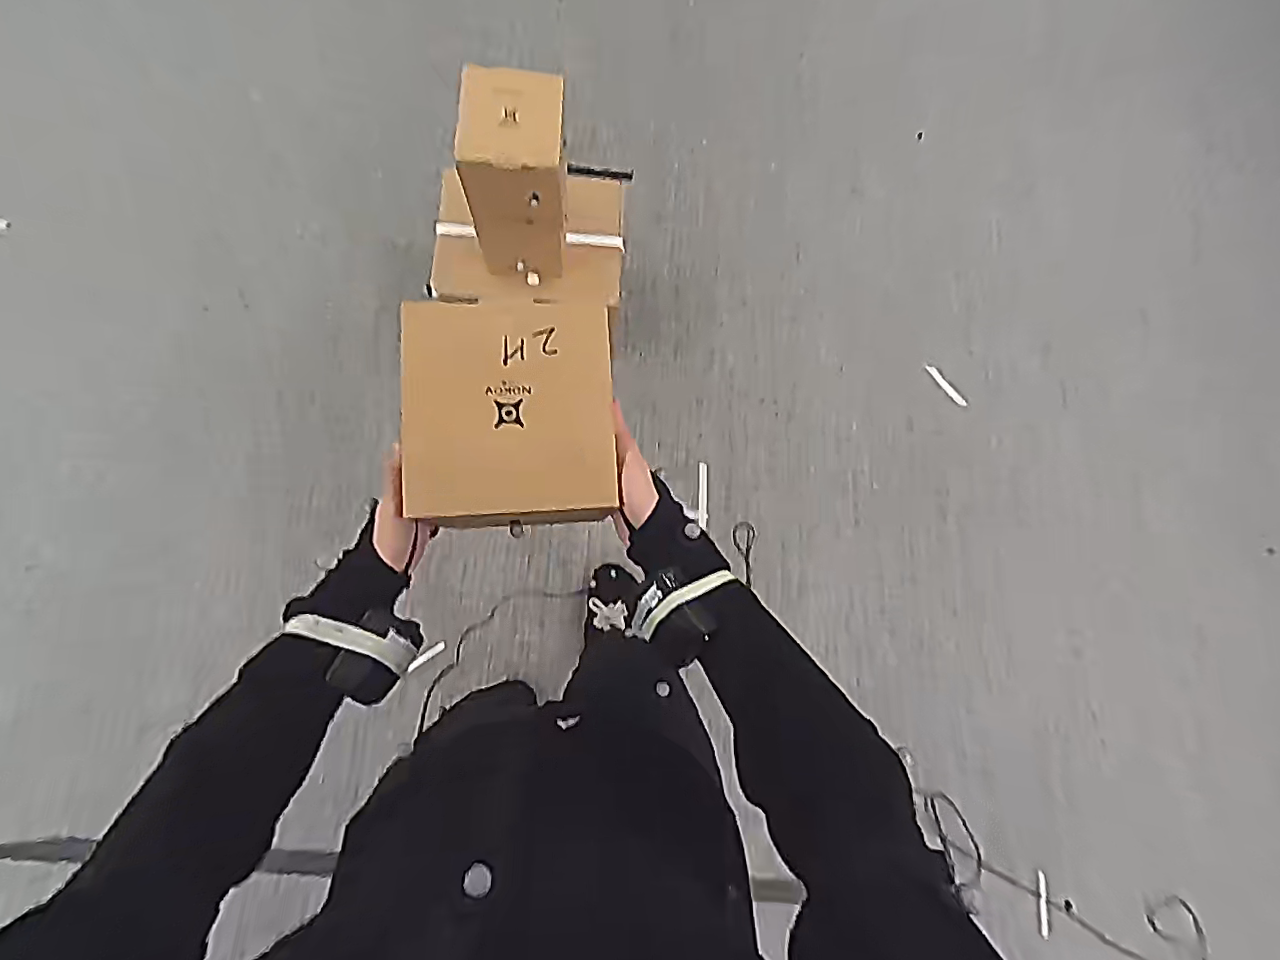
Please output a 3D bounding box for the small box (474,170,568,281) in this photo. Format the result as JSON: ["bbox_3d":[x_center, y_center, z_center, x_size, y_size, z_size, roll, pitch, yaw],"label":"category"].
[{"bbox_3d":[-0.235,-0.538,1.109,0.168,0.176,0.179,2,80,-5],"label":"small box"}]

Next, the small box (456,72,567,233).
[{"bbox_3d":[-0.216,-0.562,0.949,0.168,0.176,0.179,1,79,-6],"label":"small box"}]

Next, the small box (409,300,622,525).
[{"bbox_3d":[-0.109,-0.050,0.508,0.168,0.176,0.179,-3,82,-9],"label":"small box"}]
